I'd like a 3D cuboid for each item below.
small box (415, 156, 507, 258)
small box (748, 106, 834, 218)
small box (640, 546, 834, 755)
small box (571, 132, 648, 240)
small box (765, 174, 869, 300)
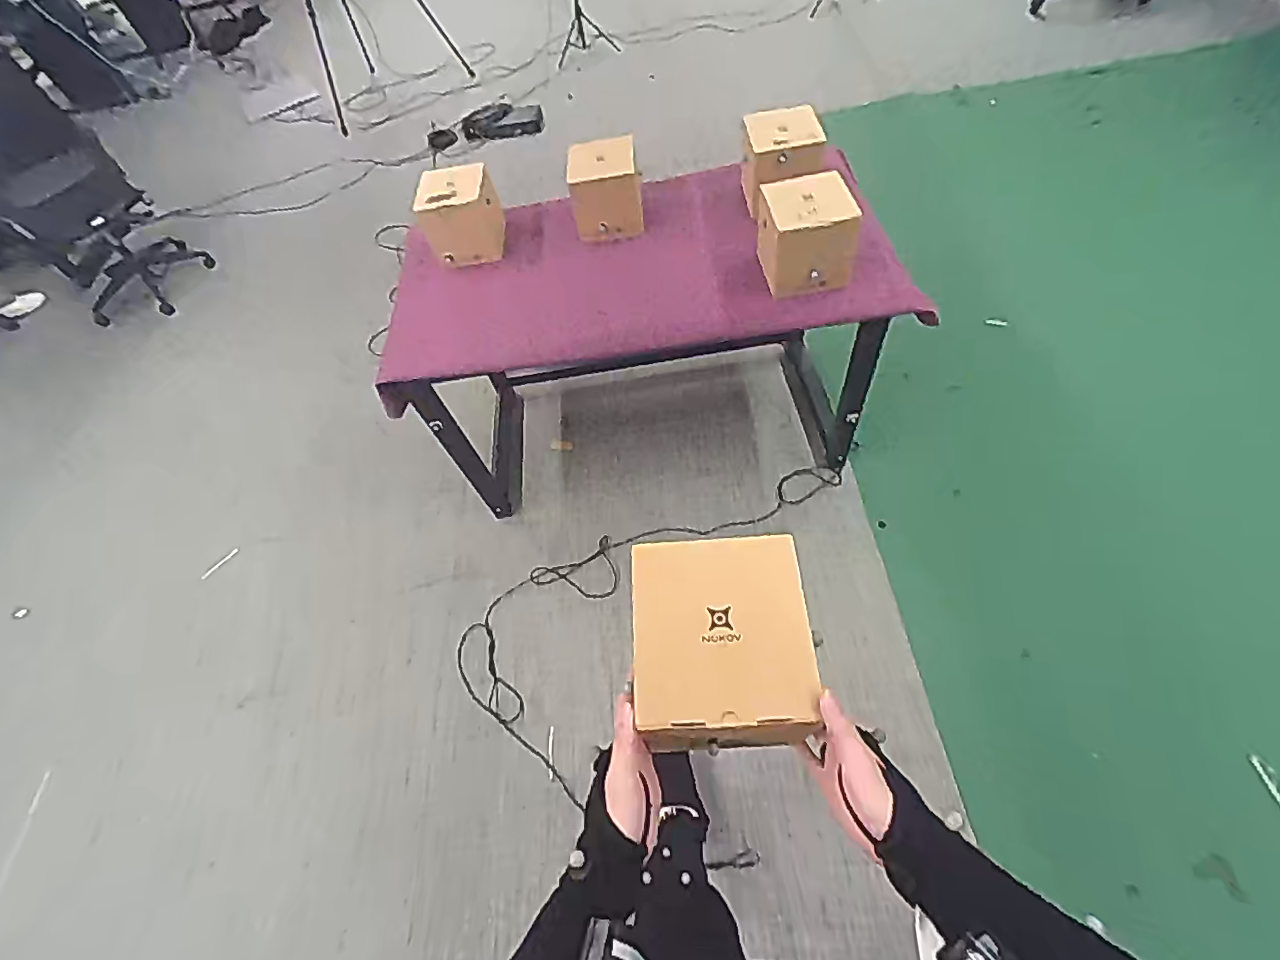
[{"bbox_3d":[-0.447,-0.687,1.379,0.168,0.176,0.179,-6,59,4],"label":"small box"},{"bbox_3d":[0.360,-0.775,1.324,0.168,0.176,0.179,-6,58,5],"label":"small box"},{"bbox_3d":[0.086,0.184,0.569,0.168,0.176,0.179,-4,60,3],"label":"small box"},{"bbox_3d":[-0.072,-0.737,1.363,0.168,0.176,0.179,-5,59,6],"label":"small box"},{"bbox_3d":[0.368,-0.518,1.160,0.168,0.176,0.179,-8,58,5],"label":"small box"}]
